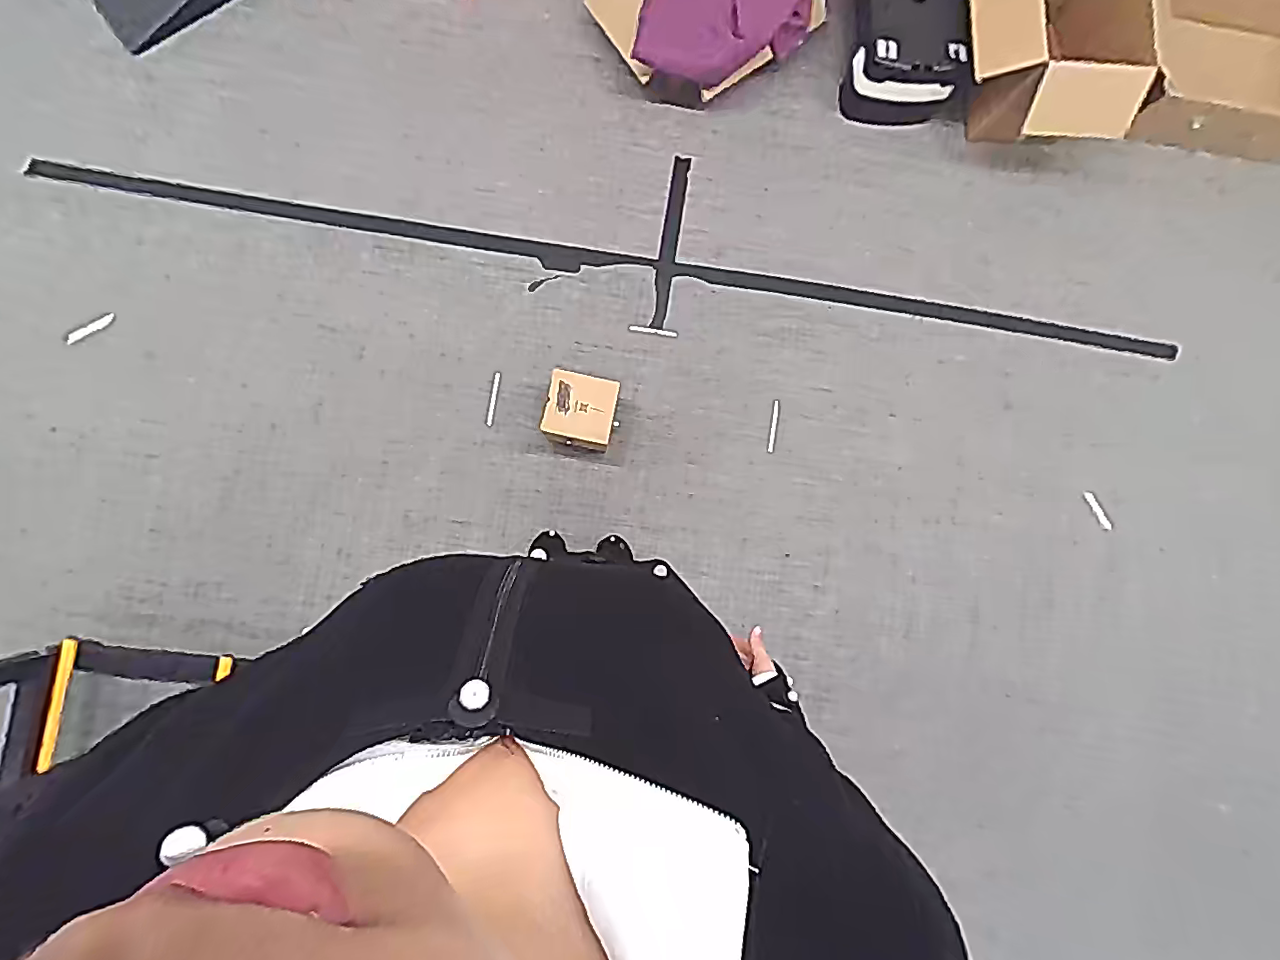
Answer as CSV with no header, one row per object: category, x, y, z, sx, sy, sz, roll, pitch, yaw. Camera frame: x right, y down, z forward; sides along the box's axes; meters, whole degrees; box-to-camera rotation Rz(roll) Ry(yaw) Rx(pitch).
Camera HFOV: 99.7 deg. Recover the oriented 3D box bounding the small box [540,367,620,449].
small box,-0.157,-0.184,1.443,0.179,0.176,0.168,12,86,-4
